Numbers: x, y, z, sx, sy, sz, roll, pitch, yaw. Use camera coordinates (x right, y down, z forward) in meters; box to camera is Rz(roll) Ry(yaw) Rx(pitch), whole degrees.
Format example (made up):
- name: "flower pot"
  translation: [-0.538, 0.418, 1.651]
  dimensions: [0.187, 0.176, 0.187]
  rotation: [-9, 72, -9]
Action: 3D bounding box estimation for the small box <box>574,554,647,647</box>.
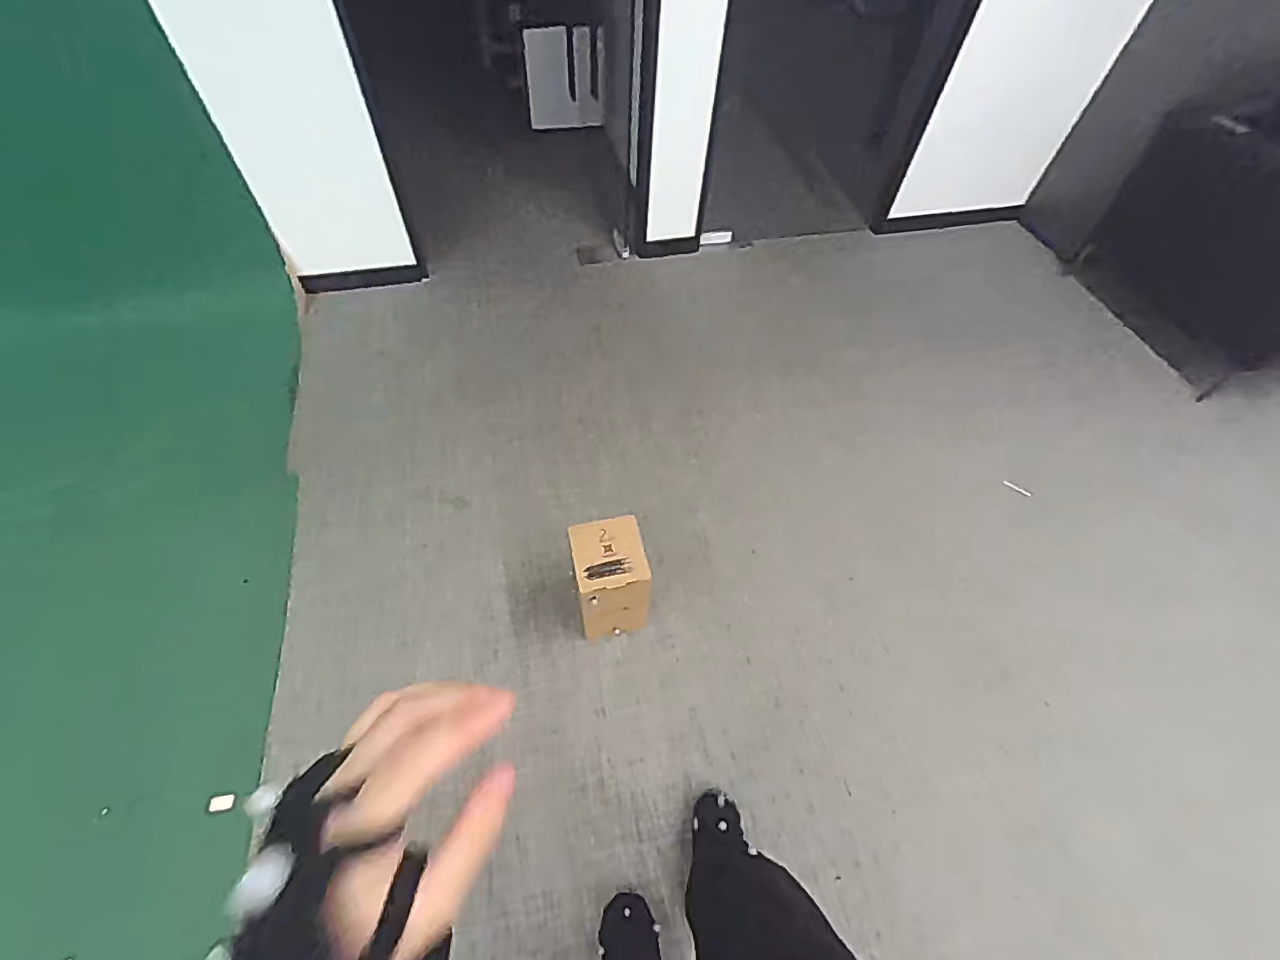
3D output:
- name: "small box"
  translation: [-0.083, 0.323, 1.440]
  dimensions: [0.168, 0.176, 0.179]
  rotation: [-9, 57, -9]
